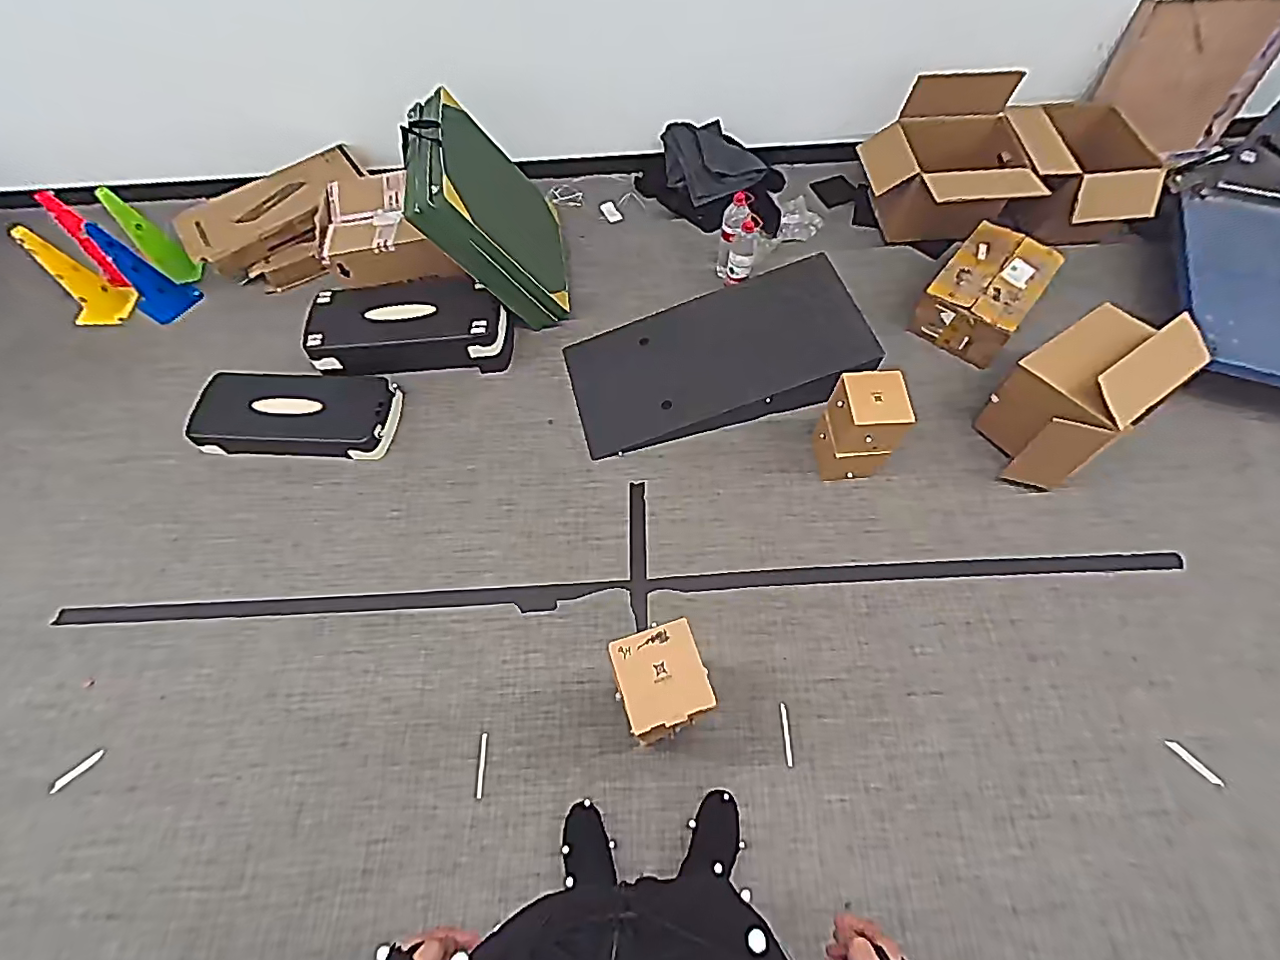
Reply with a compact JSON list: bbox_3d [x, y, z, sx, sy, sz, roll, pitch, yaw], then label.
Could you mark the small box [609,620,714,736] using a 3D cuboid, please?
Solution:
[{"bbox_3d":[0.042,0.408,1.108,0.168,0.176,0.179,-16,65,-7],"label":"small box"}]
